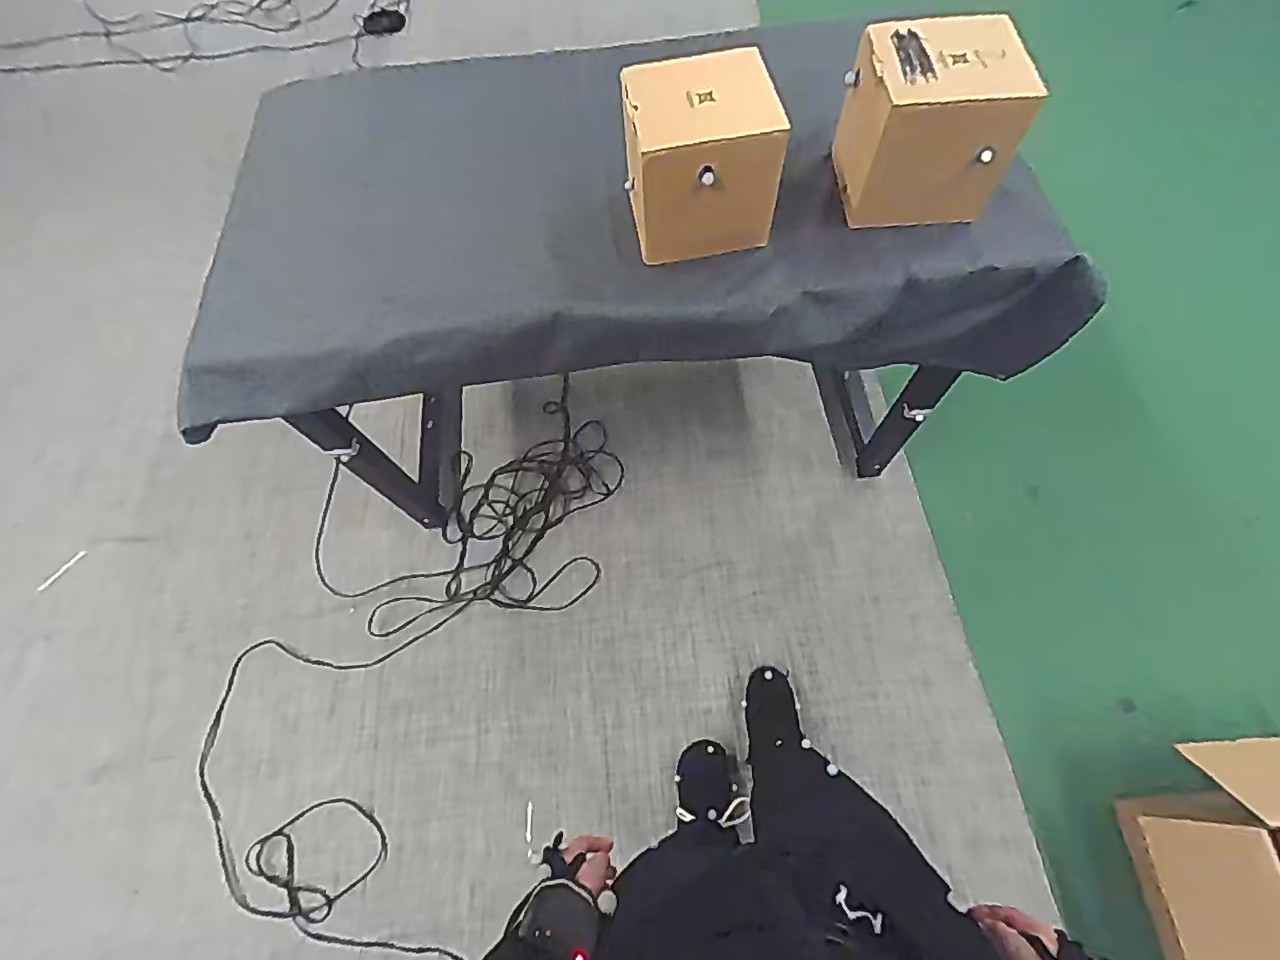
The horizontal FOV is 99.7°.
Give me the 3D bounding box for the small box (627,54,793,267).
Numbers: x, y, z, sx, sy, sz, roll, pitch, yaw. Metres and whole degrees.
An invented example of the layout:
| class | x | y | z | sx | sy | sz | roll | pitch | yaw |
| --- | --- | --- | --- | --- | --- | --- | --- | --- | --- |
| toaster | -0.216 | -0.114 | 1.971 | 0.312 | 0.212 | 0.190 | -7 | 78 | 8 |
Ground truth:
| class | x | y | z | sx | sy | sz | roll | pitch | yaw |
| --- | --- | --- | --- | --- | --- | --- | --- | --- | --- |
| small box | 0.084 | -0.414 | 0.719 | 0.179 | 0.176 | 0.168 | -10 | 65 | 1 |
